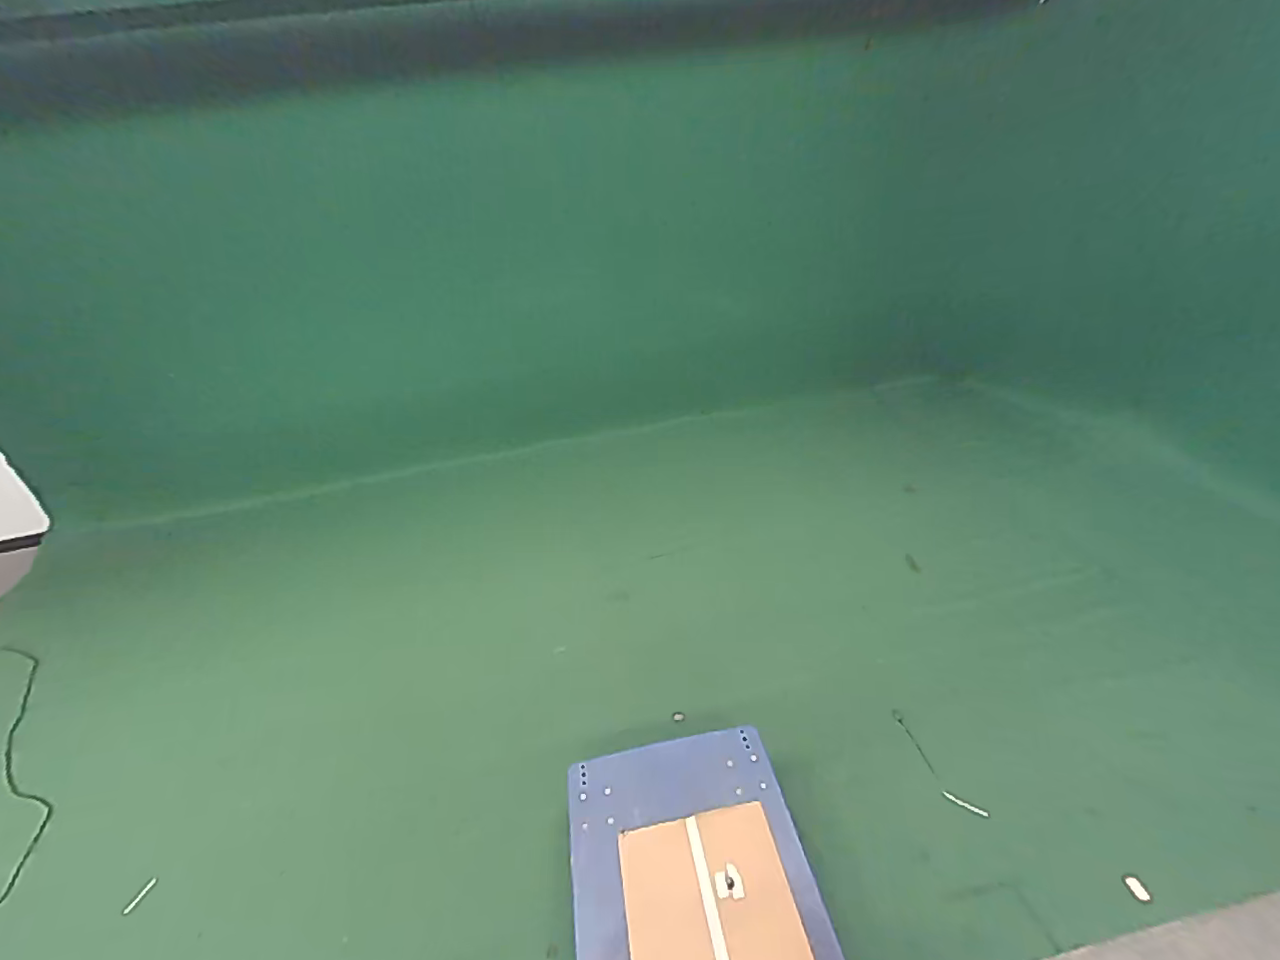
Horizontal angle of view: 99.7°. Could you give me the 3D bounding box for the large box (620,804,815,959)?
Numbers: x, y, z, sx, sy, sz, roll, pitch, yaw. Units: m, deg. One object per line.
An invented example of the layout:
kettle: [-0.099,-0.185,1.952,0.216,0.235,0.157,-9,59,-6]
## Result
large box: [0.160,0.947,1.055,0.320,0.320,0.408,-10,31,-4]
